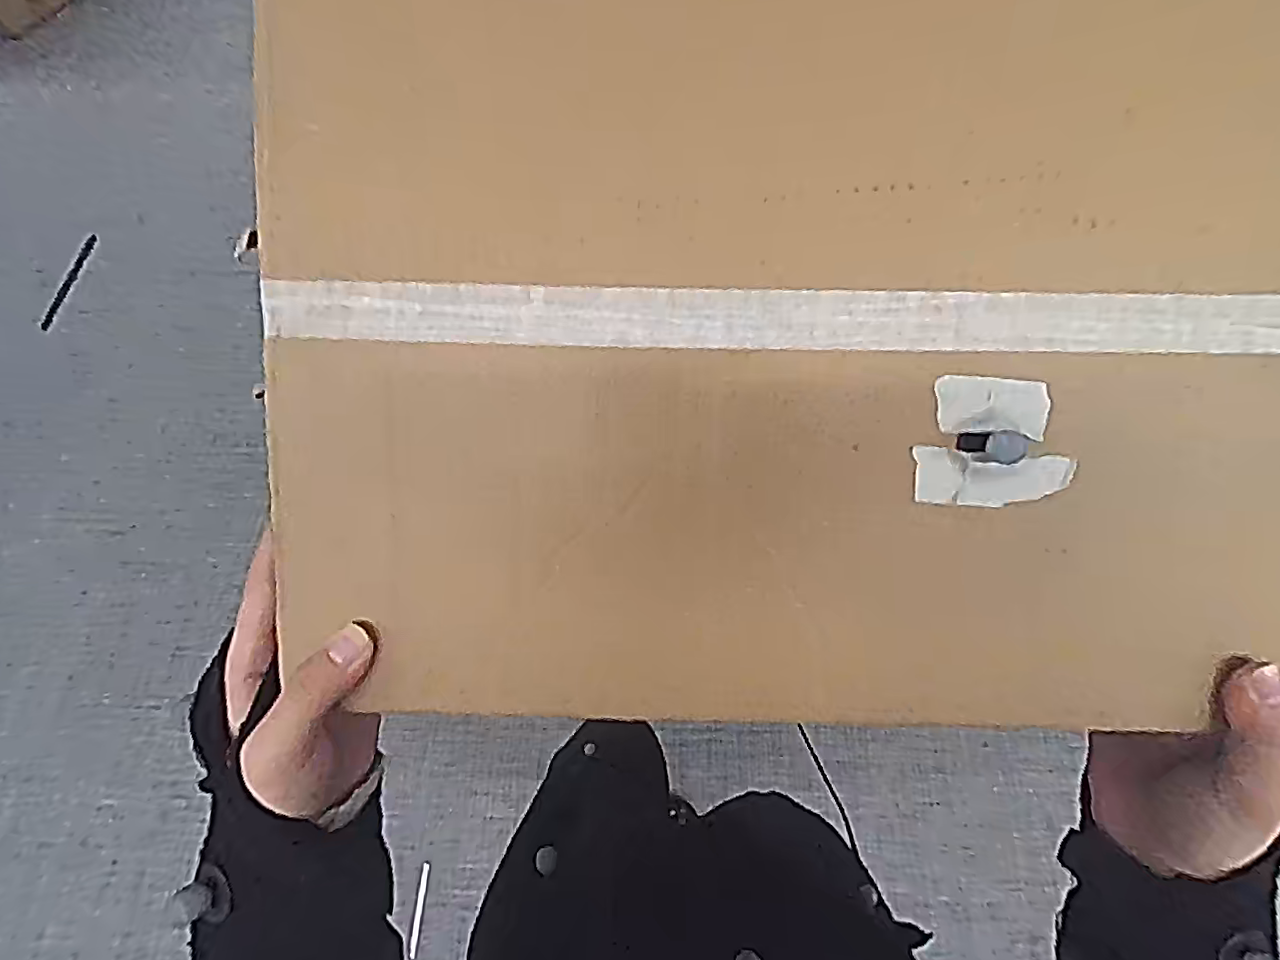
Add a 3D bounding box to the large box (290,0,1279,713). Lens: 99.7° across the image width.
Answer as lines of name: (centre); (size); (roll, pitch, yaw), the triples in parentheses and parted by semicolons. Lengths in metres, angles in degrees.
large box: (0.061, -0.067, 0.362); (0.408, 0.320, 0.320); (1, 94, -1)
